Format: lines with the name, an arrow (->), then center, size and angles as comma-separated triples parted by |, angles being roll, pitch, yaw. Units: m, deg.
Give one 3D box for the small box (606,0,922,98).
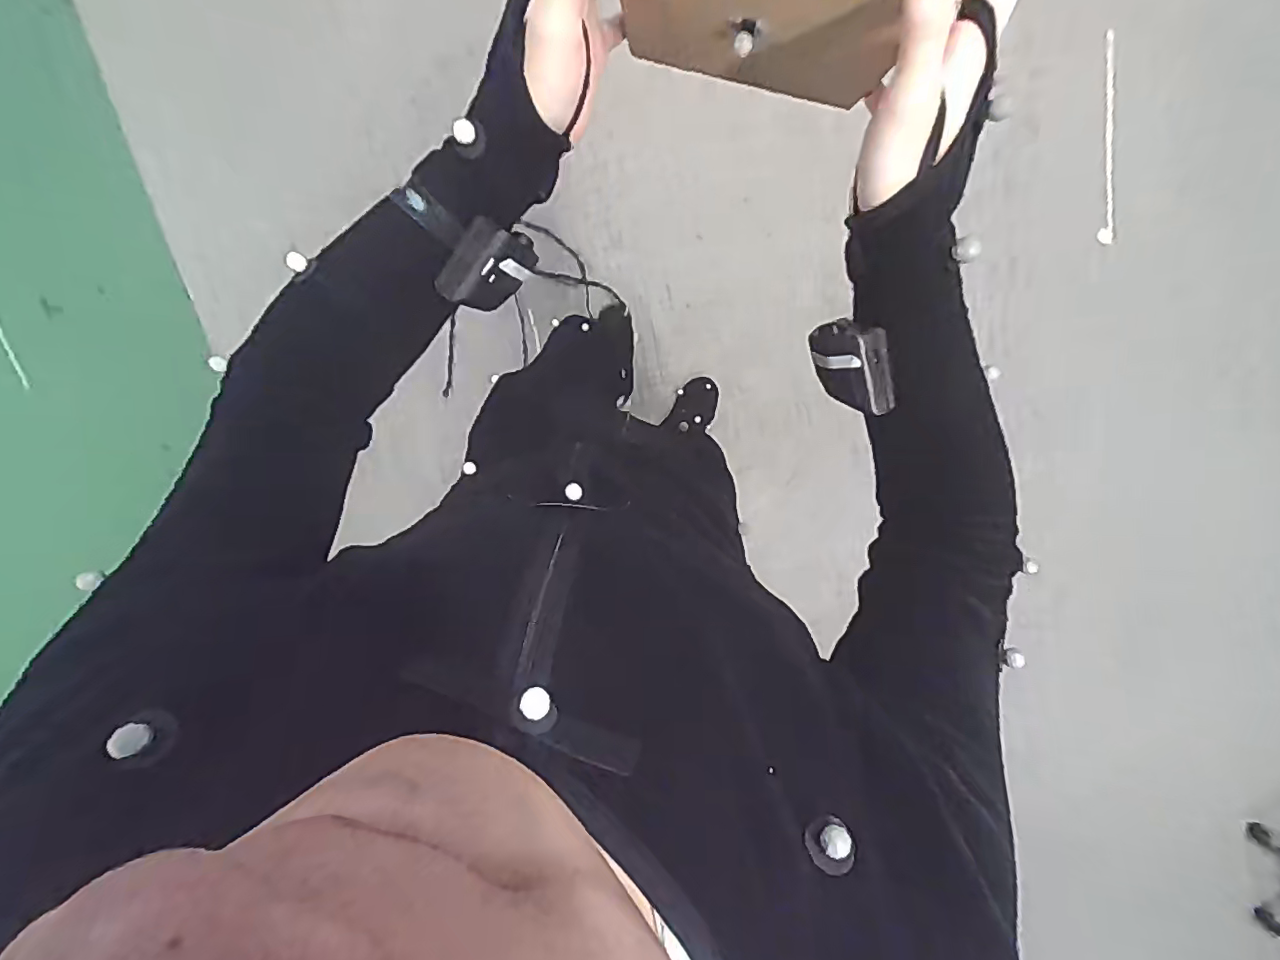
small box -> 0.078, -0.356, 0.316 | 0.179, 0.176, 0.168 | 12, 108, 0
